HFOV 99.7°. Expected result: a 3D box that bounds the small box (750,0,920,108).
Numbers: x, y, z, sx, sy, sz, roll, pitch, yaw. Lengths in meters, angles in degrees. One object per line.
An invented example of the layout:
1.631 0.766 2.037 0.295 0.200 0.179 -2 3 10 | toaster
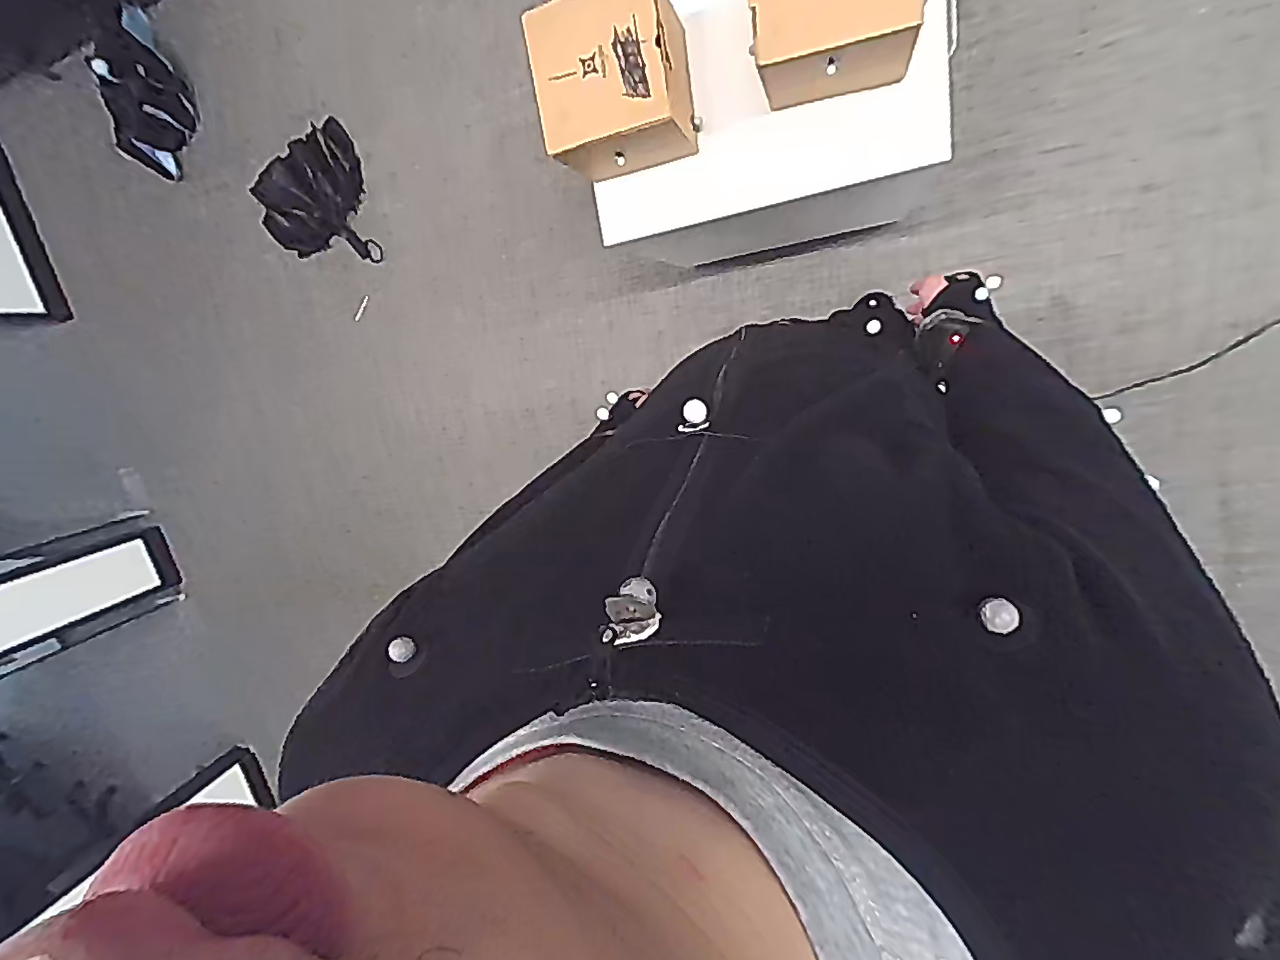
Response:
0.230 -0.576 0.645 0.179 0.176 0.168 0 108 19 | small box

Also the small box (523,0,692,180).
-0.031 -0.538 0.745 0.179 0.176 0.168 -4 105 21 | small box
